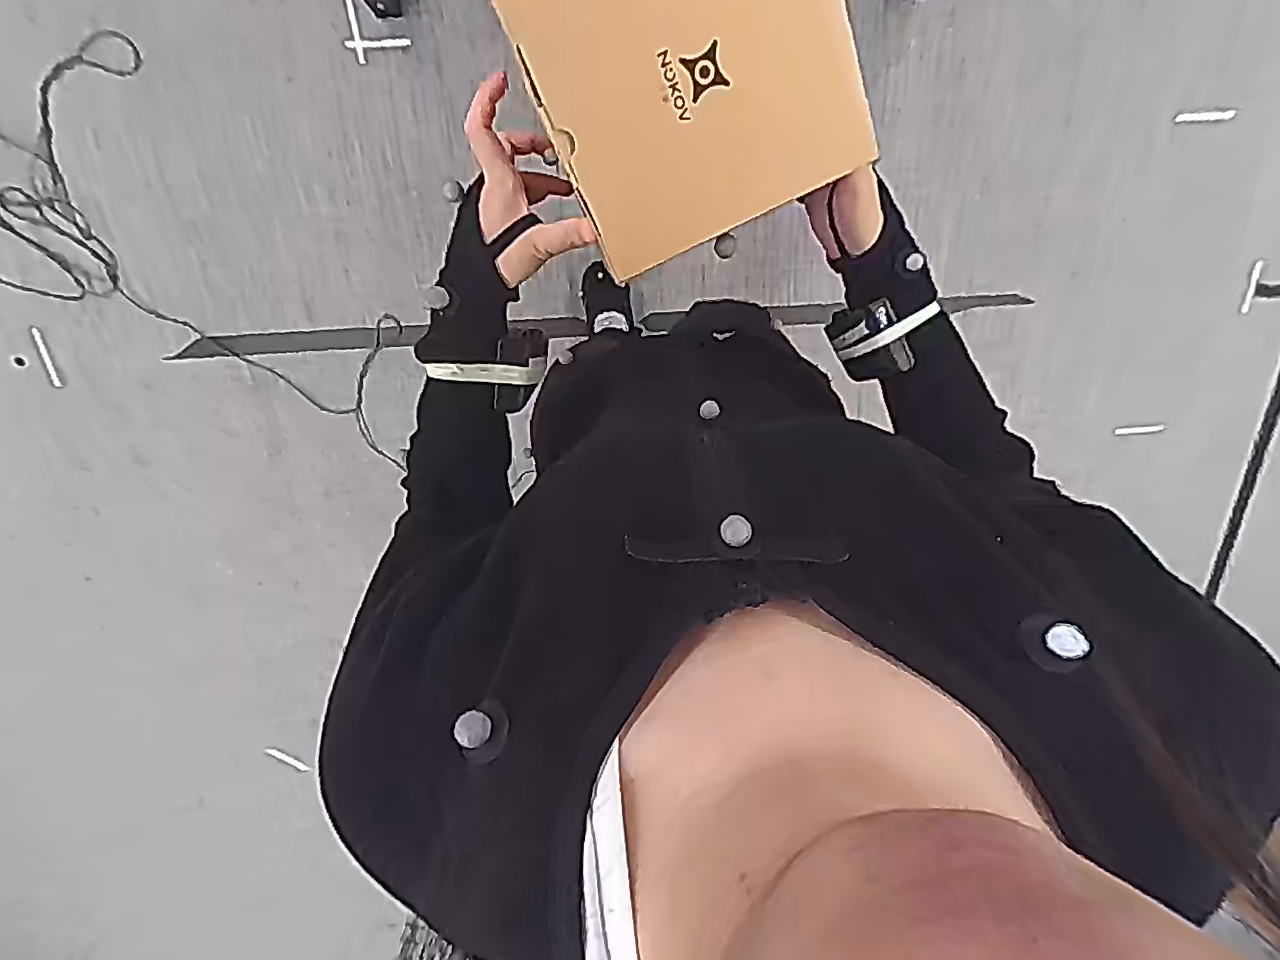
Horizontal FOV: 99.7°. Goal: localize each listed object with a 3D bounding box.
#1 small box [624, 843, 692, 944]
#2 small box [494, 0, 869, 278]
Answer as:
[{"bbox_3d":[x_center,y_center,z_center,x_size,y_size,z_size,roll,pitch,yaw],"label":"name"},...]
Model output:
[{"bbox_3d":[0.050,1.191,1.569,0.179,0.176,0.168,-5,109,-2],"label":"small box"},{"bbox_3d":[0.024,-0.263,0.378,0.179,0.176,0.168,-24,114,7],"label":"small box"}]
